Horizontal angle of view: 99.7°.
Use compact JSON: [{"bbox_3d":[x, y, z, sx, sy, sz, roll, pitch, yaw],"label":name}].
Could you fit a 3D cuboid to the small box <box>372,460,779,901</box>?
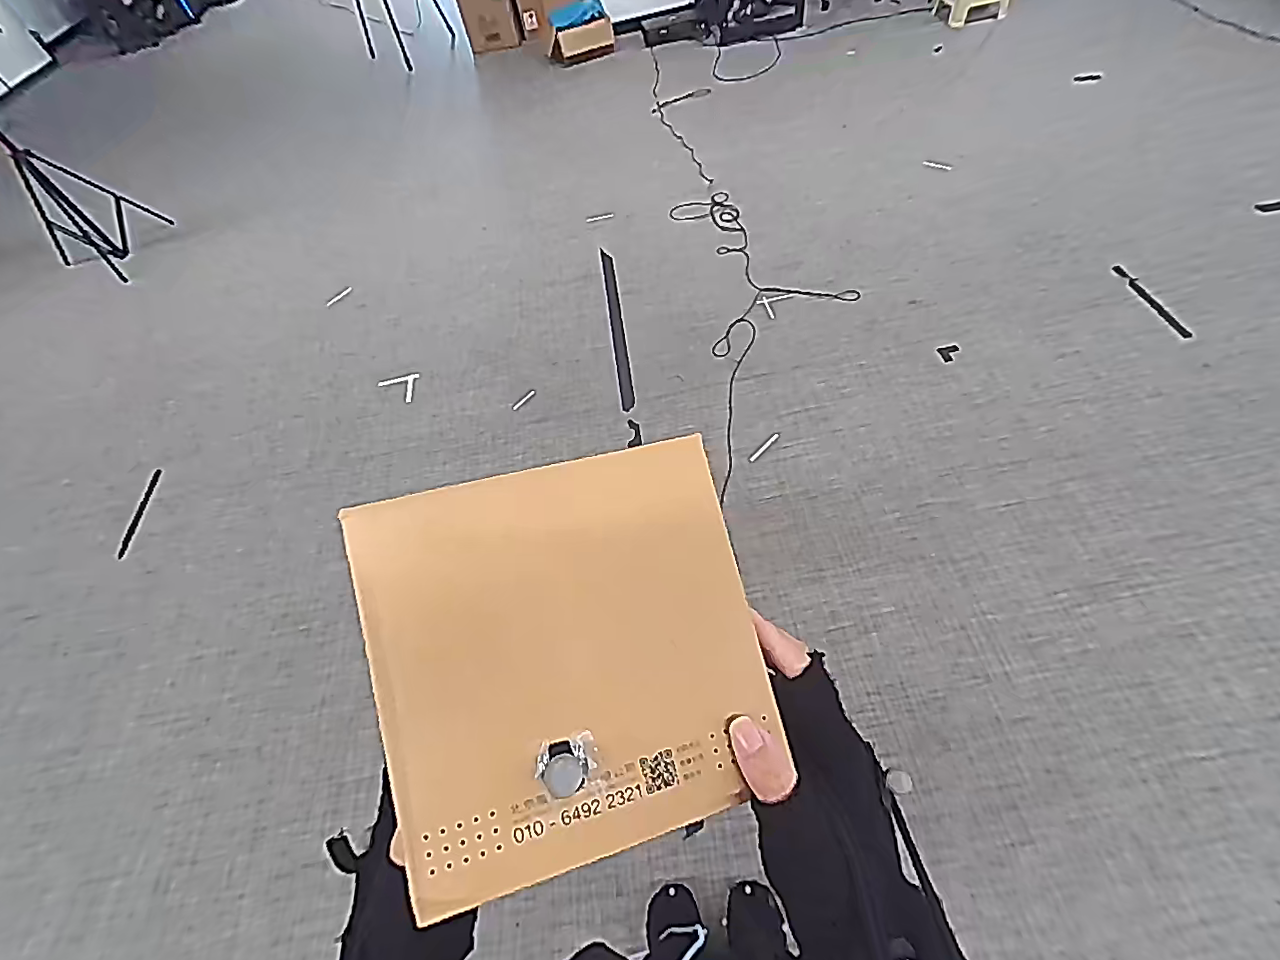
[{"bbox_3d":[-0.041,0.101,0.330,0.168,0.179,0.176,-13,82,-13],"label":"small box"}]
